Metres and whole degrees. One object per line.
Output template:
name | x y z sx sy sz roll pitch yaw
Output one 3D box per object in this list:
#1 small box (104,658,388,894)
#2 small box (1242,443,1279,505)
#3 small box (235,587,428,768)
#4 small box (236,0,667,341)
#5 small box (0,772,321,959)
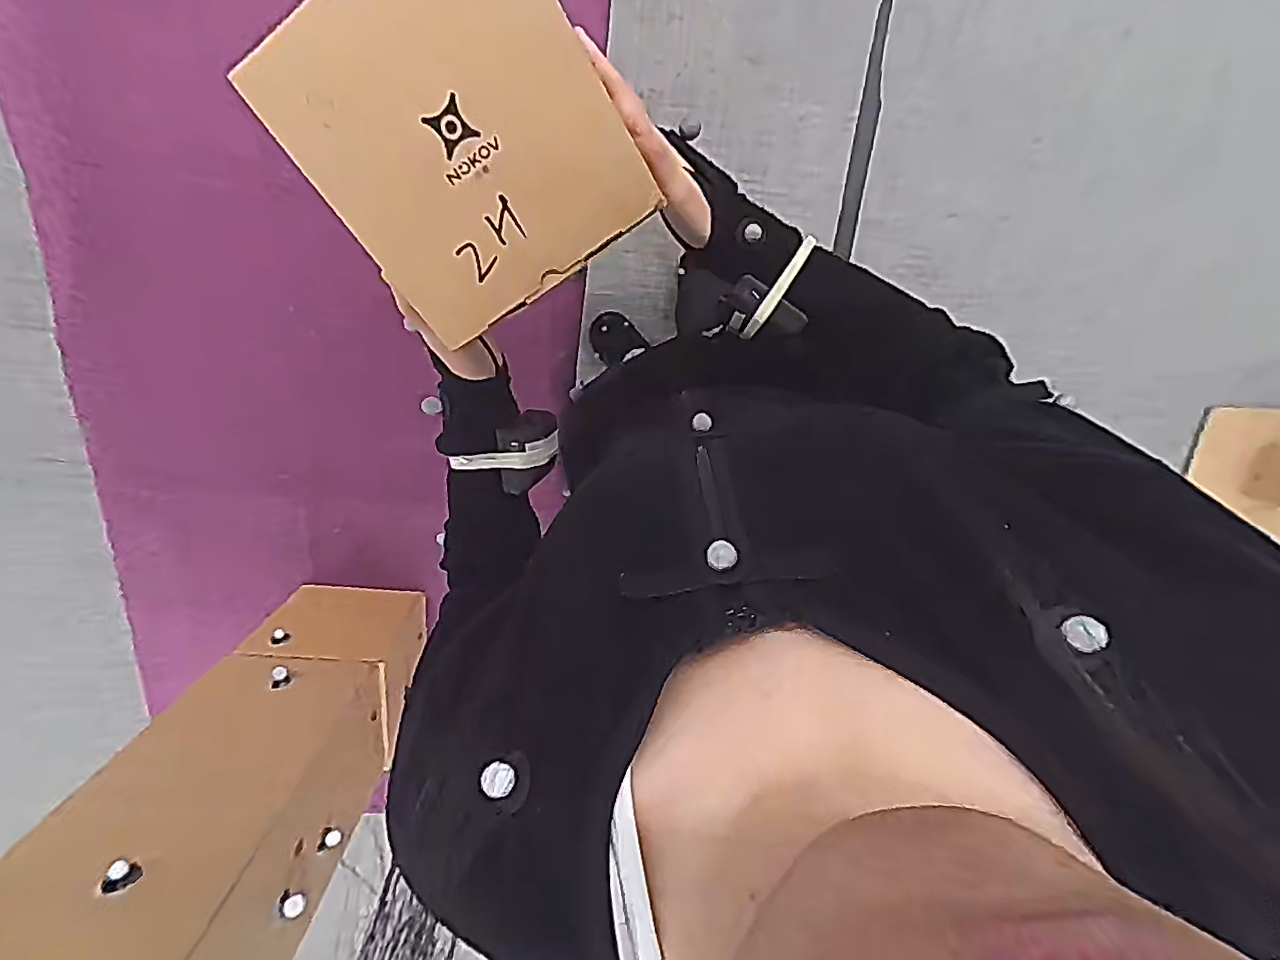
small box | -0.394 0.309 0.577 0.179 0.176 0.168 4 108 -4
small box | 1.920 -0.002 1.551 0.179 0.176 0.168 5 109 -6
small box | -0.397 0.258 0.733 0.179 0.176 0.168 5 108 -5
small box | -0.100 -0.225 0.366 0.168 0.176 0.179 -29 115 13
small box | -0.382 0.356 0.419 0.179 0.176 0.168 4 108 -5
